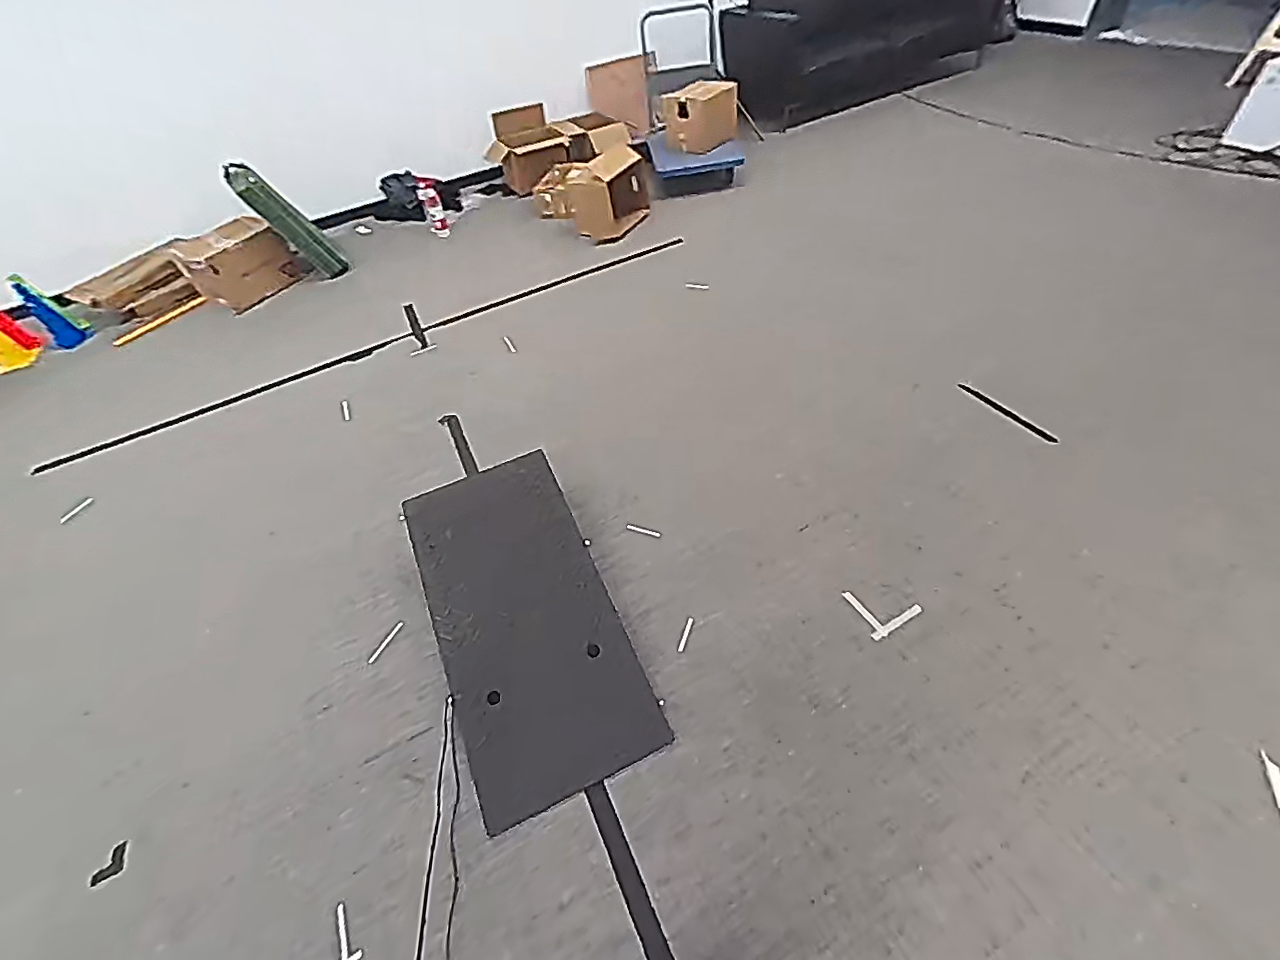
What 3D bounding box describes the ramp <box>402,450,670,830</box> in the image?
[{"bbox_3d":[-0.342,0.361,1.564,0.509,0.206,0.991,-23,49,-14],"label":"ramp"}]
